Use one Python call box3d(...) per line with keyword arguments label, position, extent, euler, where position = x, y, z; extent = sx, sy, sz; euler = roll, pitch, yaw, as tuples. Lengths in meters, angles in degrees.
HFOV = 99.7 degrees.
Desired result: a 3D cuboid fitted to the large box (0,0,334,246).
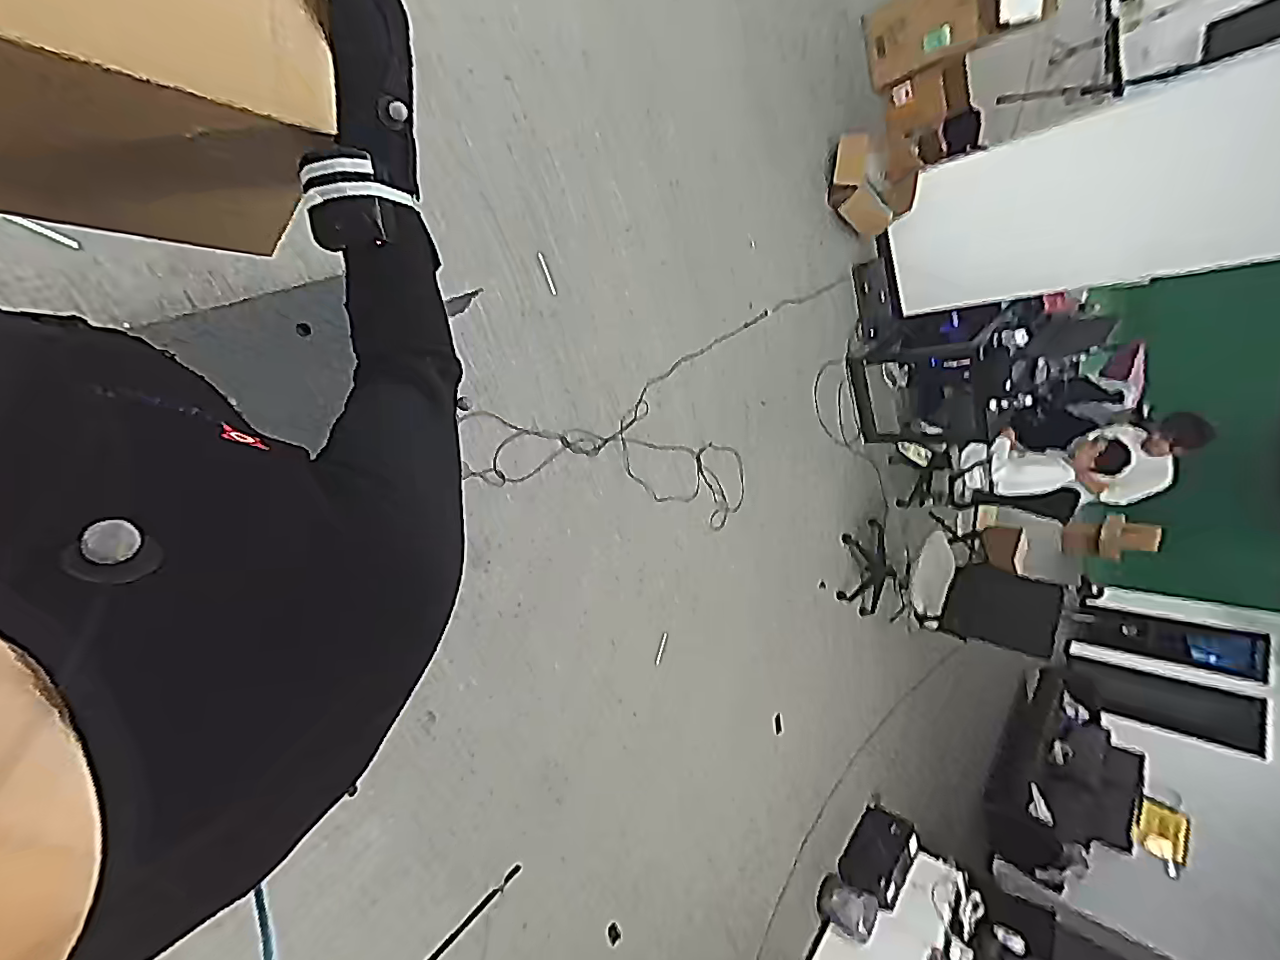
box3d(label="large box", position=(-0.482, -0.396, 0.369), extent=(0.408, 0.320, 0.320), euler=(-6, 96, -42))
